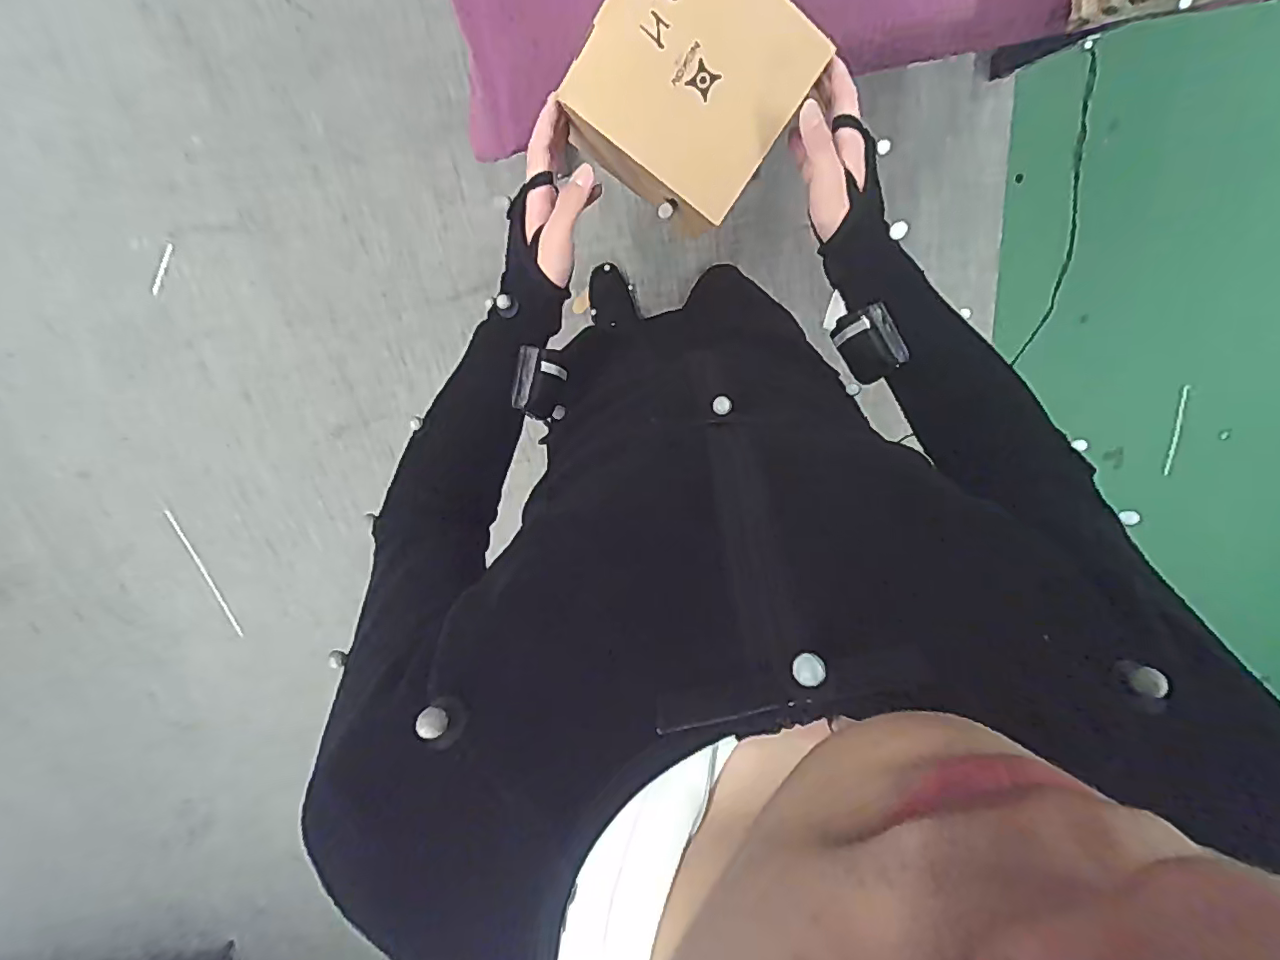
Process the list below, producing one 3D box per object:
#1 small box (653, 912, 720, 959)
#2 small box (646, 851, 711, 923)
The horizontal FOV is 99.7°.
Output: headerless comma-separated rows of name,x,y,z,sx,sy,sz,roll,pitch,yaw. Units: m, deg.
small box,0.127,1.289,1.440,0.168,0.176,0.179,-6,114,-2
small box,0.111,1.224,1.589,0.168,0.176,0.179,-6,113,-3
